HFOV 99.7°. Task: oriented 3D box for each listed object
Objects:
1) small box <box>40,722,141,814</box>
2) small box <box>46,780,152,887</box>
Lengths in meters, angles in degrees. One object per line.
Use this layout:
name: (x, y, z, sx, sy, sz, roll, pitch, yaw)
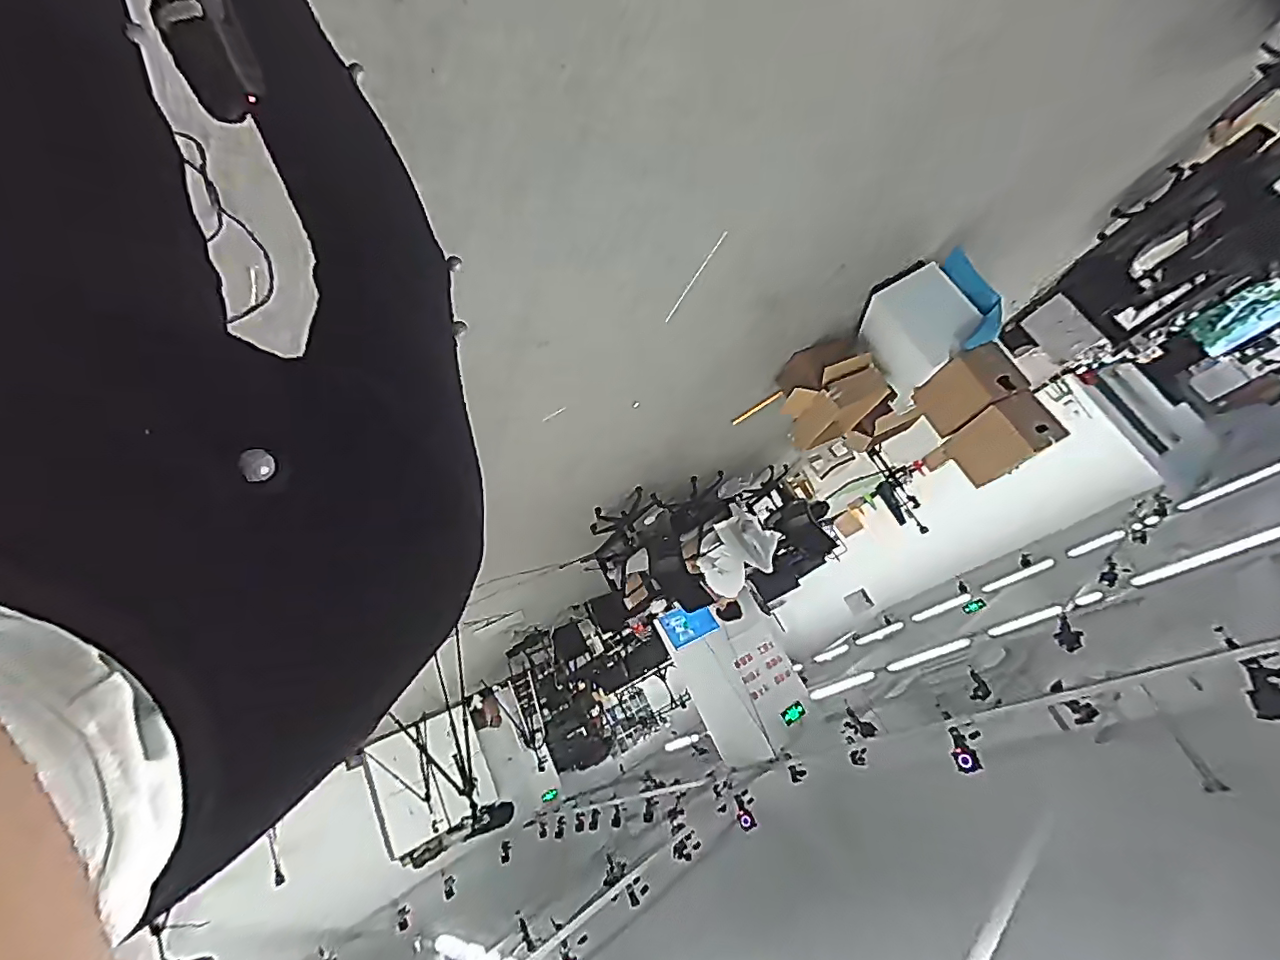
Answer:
small box: (-1.487, 0.785, 1.467, 0.179, 0.176, 0.168, -8, 152, -45)
small box: (-1.410, 0.918, 1.415, 0.179, 0.176, 0.168, -9, 152, -45)
